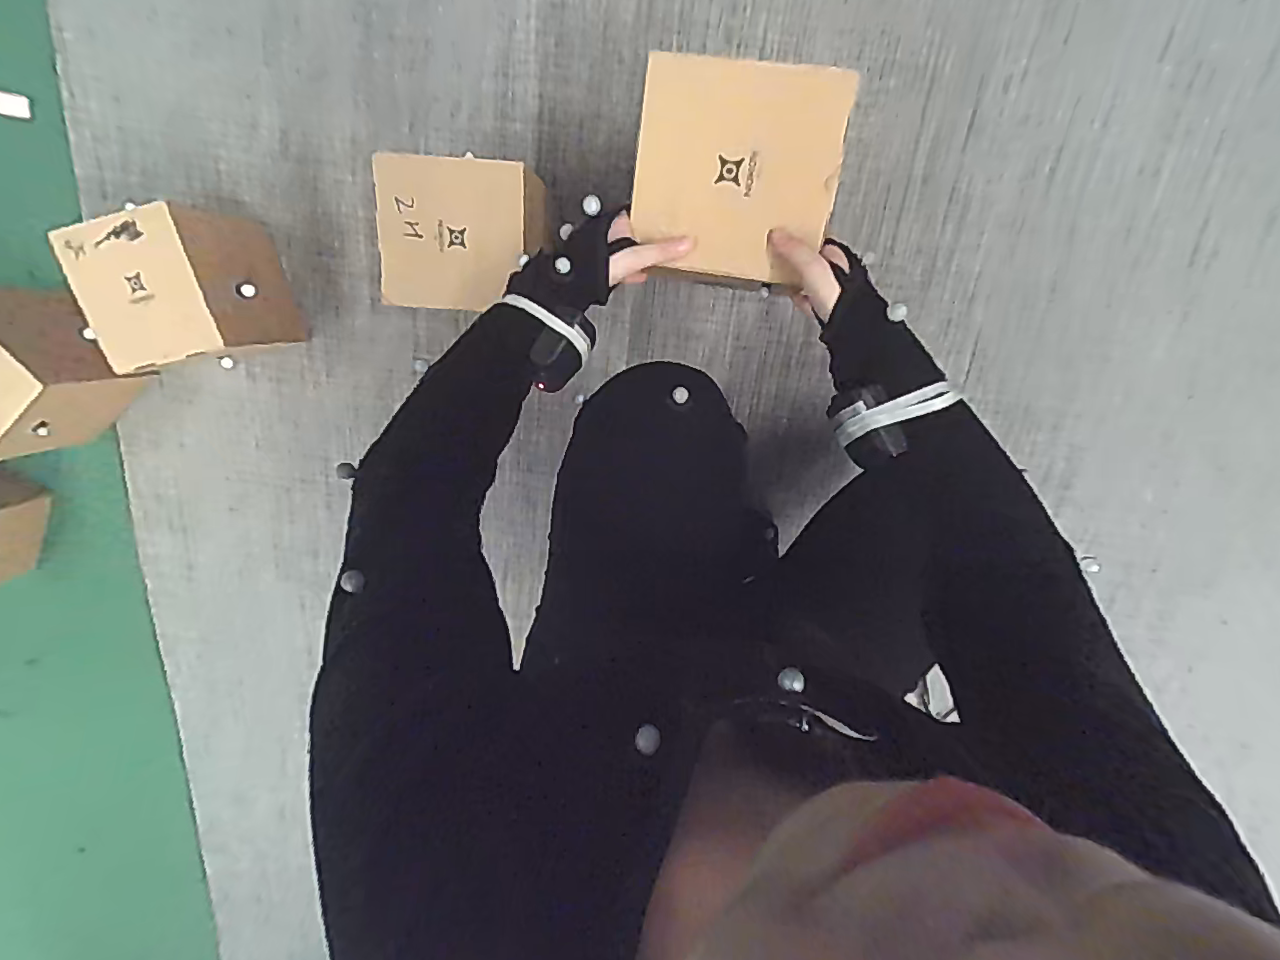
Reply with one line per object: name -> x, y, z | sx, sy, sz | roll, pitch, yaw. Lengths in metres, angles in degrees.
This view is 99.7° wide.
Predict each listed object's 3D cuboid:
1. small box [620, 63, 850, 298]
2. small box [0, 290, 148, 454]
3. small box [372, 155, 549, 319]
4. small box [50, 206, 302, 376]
small box -> 0.088, -0.285, 0.551 | 0.179, 0.176, 0.168 | 9, 106, 5
small box -> -0.892, -0.155, 0.788 | 0.179, 0.176, 0.168 | -37, 101, 12
small box -> -0.219, -0.304, 0.707 | 0.179, 0.176, 0.168 | 5, 107, 1
small box -> -0.613, -0.254, 0.744 | 0.168, 0.176, 0.179 | -11, 107, 6
